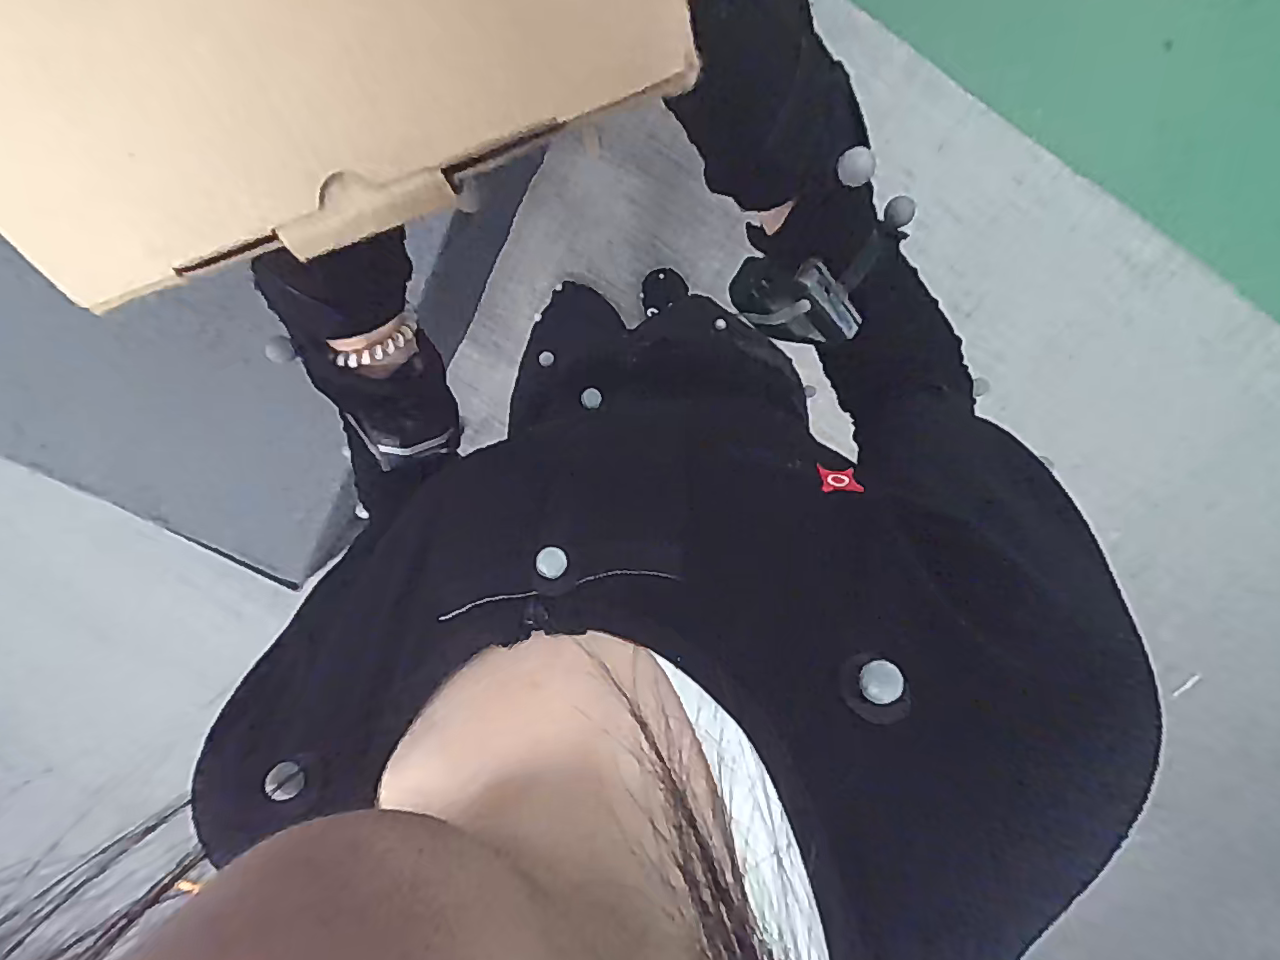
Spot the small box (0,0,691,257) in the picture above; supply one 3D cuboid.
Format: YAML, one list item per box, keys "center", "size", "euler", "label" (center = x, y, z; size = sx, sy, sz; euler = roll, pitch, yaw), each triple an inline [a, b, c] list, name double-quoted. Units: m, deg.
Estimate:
- center: [-0.089, -0.188, 0.137]
  size: [0.168, 0.176, 0.179]
  euler: [-14, 127, 9]
  label: "small box"
